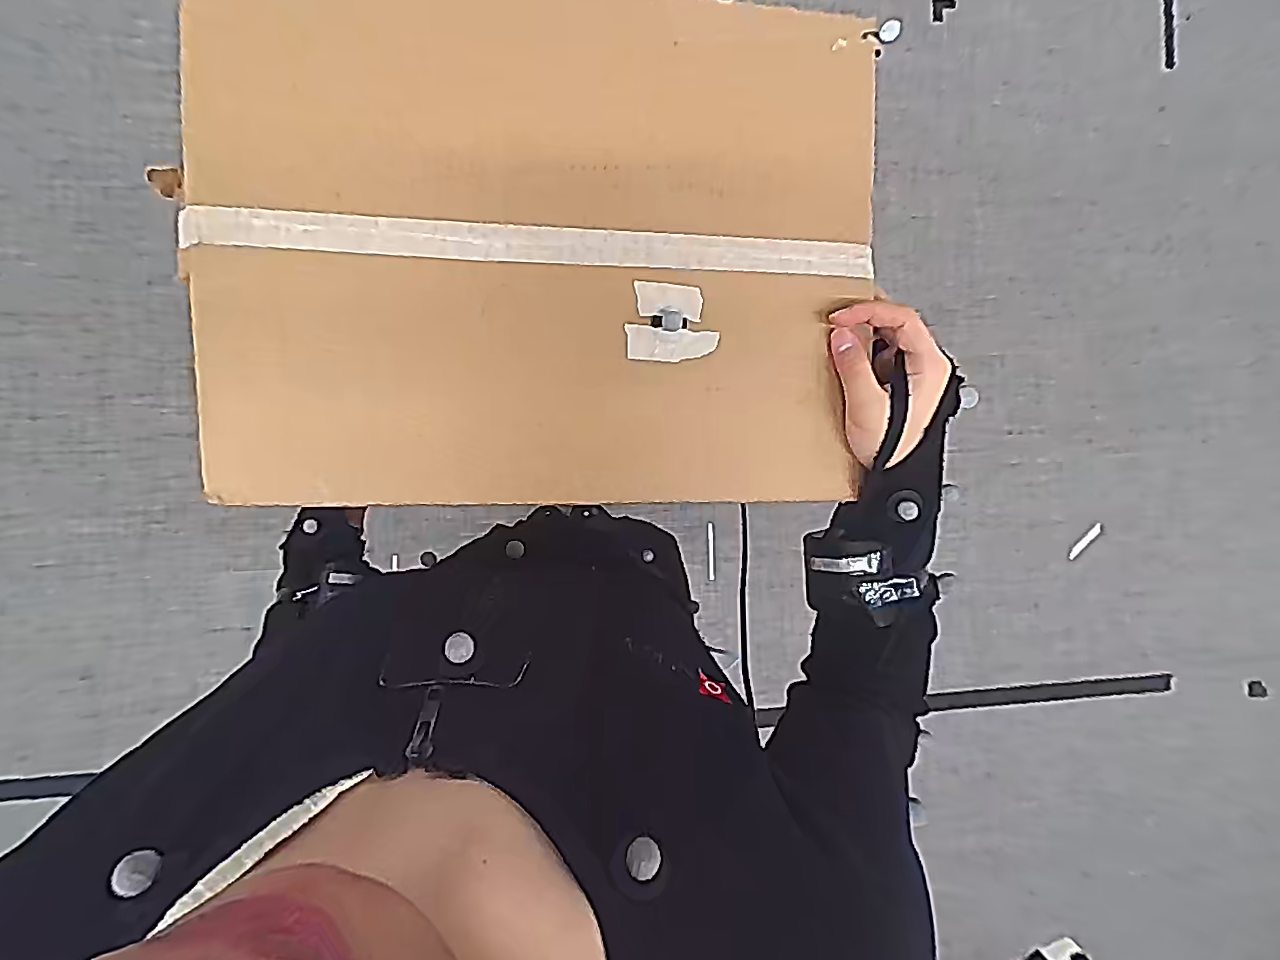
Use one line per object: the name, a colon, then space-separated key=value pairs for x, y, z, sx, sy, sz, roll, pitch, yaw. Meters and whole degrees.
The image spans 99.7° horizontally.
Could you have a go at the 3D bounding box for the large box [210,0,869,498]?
large box: x=-0.068 y=-0.155 z=0.484 sx=0.408 sy=0.320 sz=0.320 roll=0 pitch=94 yaw=-9
